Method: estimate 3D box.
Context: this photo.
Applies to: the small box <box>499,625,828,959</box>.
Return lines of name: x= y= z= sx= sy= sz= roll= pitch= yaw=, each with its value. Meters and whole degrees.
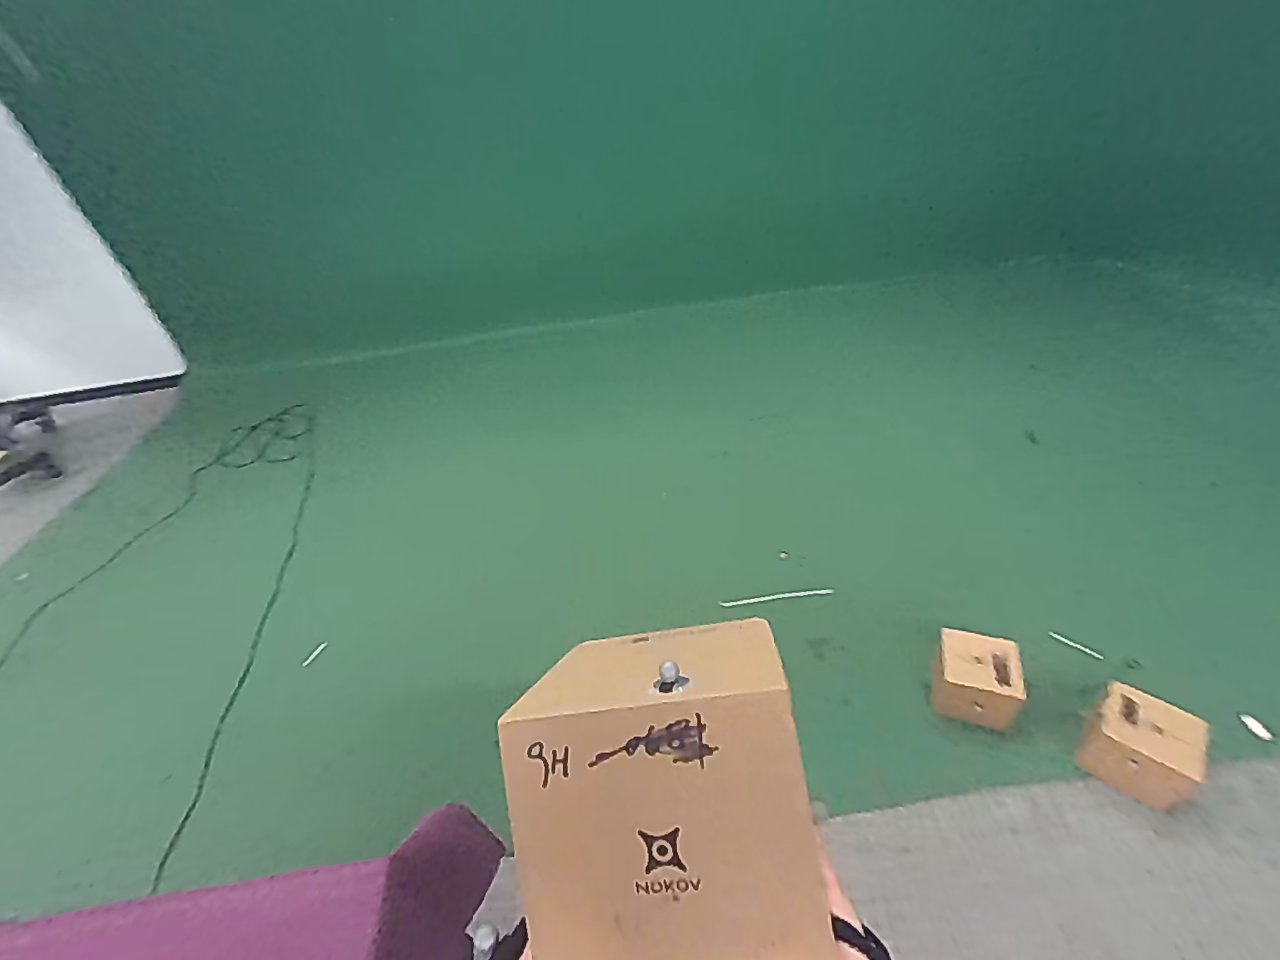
small box: x=0.025 y=0.213 z=0.370 sx=0.168 sy=0.179 sz=0.176 roll=-10 pitch=-3 yaw=9

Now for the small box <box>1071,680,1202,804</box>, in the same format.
small box: x=1.164 y=0.621 z=1.277 sx=0.179 sy=0.176 sz=0.168 roll=26 pitch=50 yaw=33
